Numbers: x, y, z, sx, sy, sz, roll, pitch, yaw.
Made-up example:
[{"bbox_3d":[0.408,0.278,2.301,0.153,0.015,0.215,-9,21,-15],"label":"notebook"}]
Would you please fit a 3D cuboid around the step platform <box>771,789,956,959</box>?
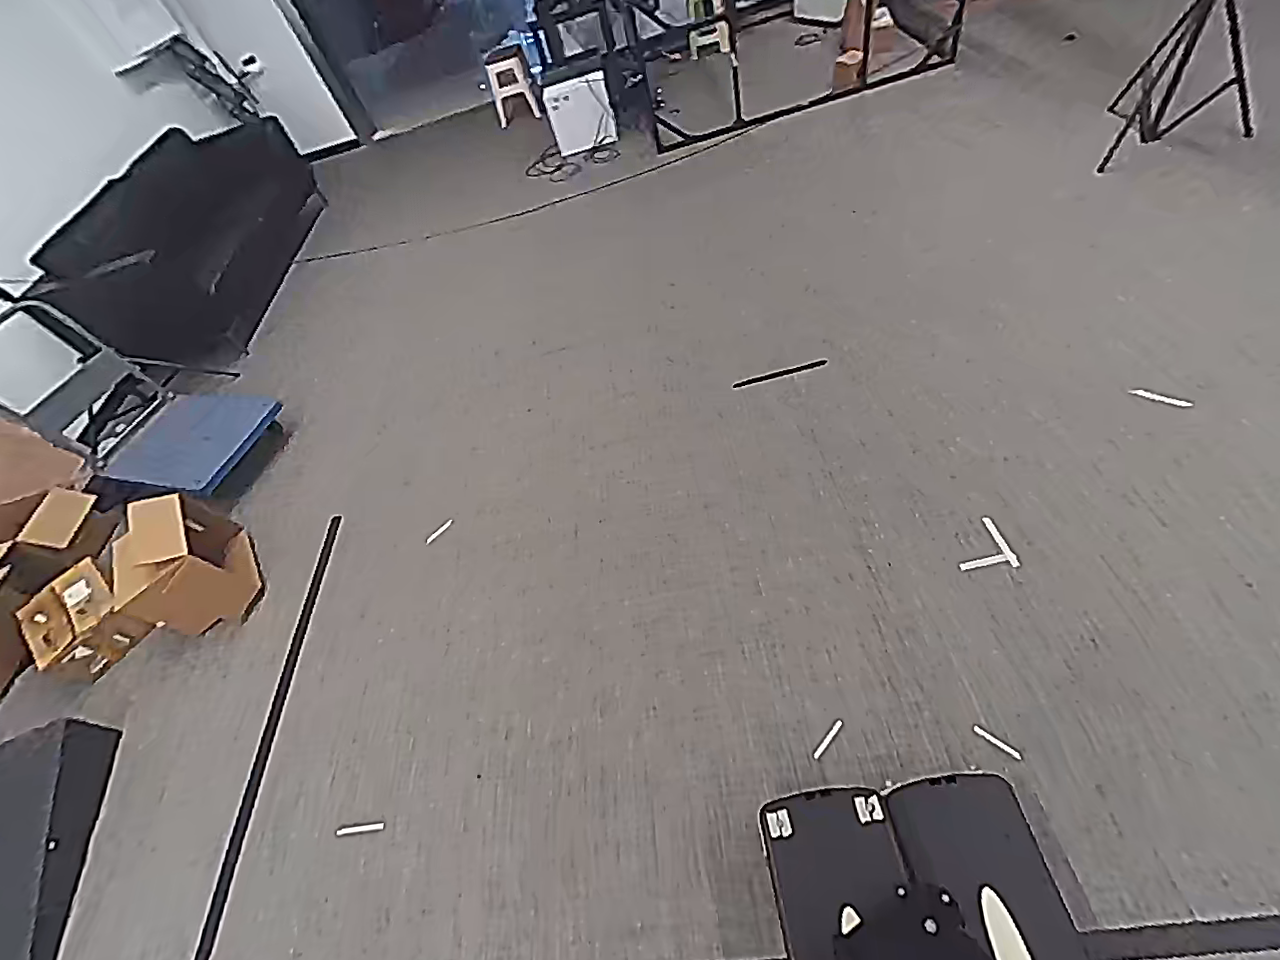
[{"bbox_3d":[0.480,1.006,1.066,0.286,0.204,0.684,-14,50,6],"label":"step platform"}]
